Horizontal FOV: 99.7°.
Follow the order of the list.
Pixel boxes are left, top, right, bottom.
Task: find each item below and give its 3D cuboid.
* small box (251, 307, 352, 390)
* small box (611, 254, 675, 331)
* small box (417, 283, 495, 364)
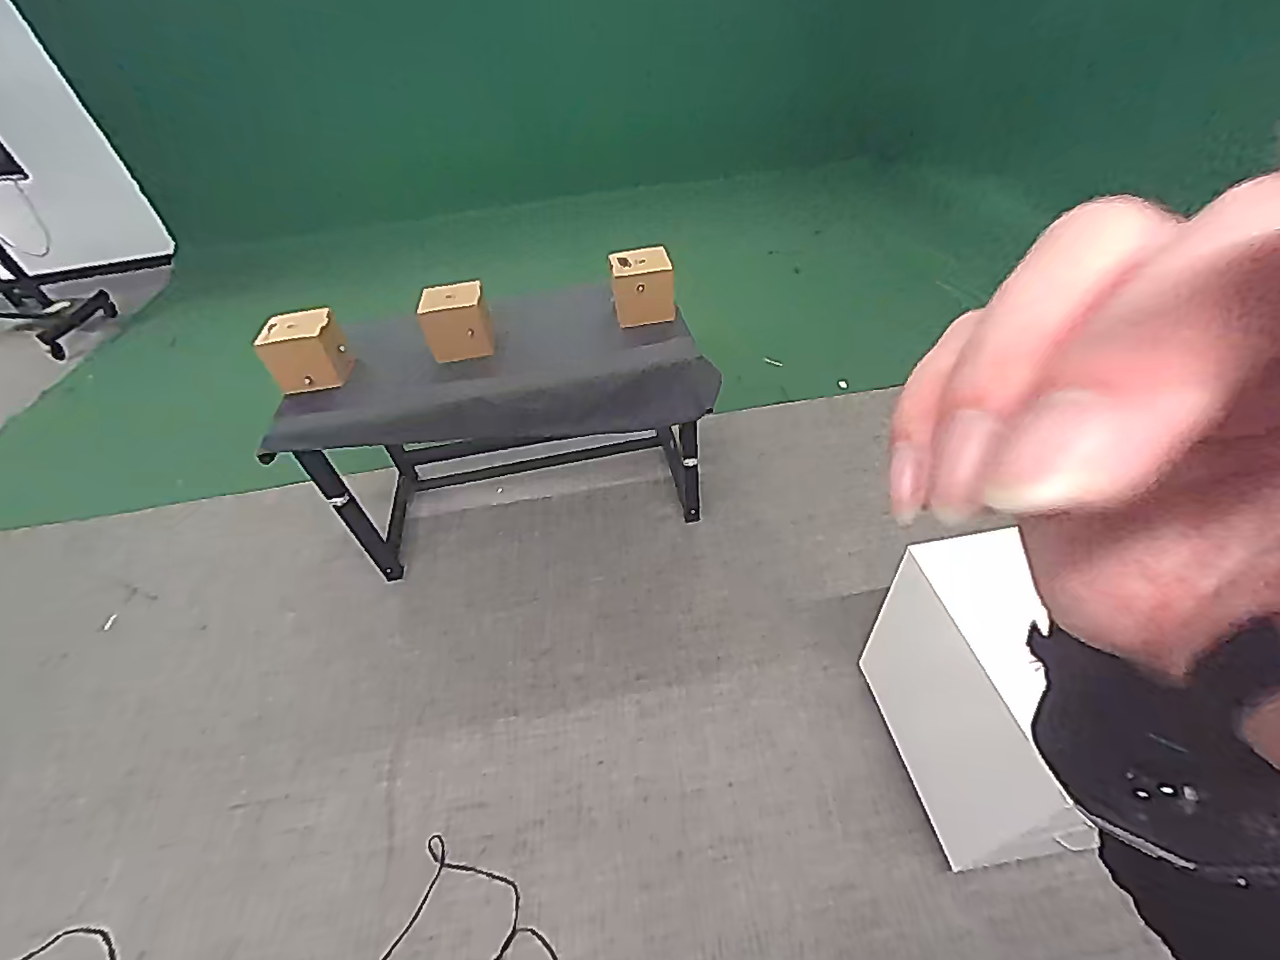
[{"bbox_3d":[-0.969,-0.380,1.570,0.179,0.176,0.168,-8,43,-5],"label":"small box"},{"bbox_3d":[0.010,-0.579,1.679,0.179,0.176,0.168,-8,44,-3],"label":"small box"},{"bbox_3d":[-0.543,-0.470,1.626,0.179,0.176,0.168,-10,43,-3],"label":"small box"}]
